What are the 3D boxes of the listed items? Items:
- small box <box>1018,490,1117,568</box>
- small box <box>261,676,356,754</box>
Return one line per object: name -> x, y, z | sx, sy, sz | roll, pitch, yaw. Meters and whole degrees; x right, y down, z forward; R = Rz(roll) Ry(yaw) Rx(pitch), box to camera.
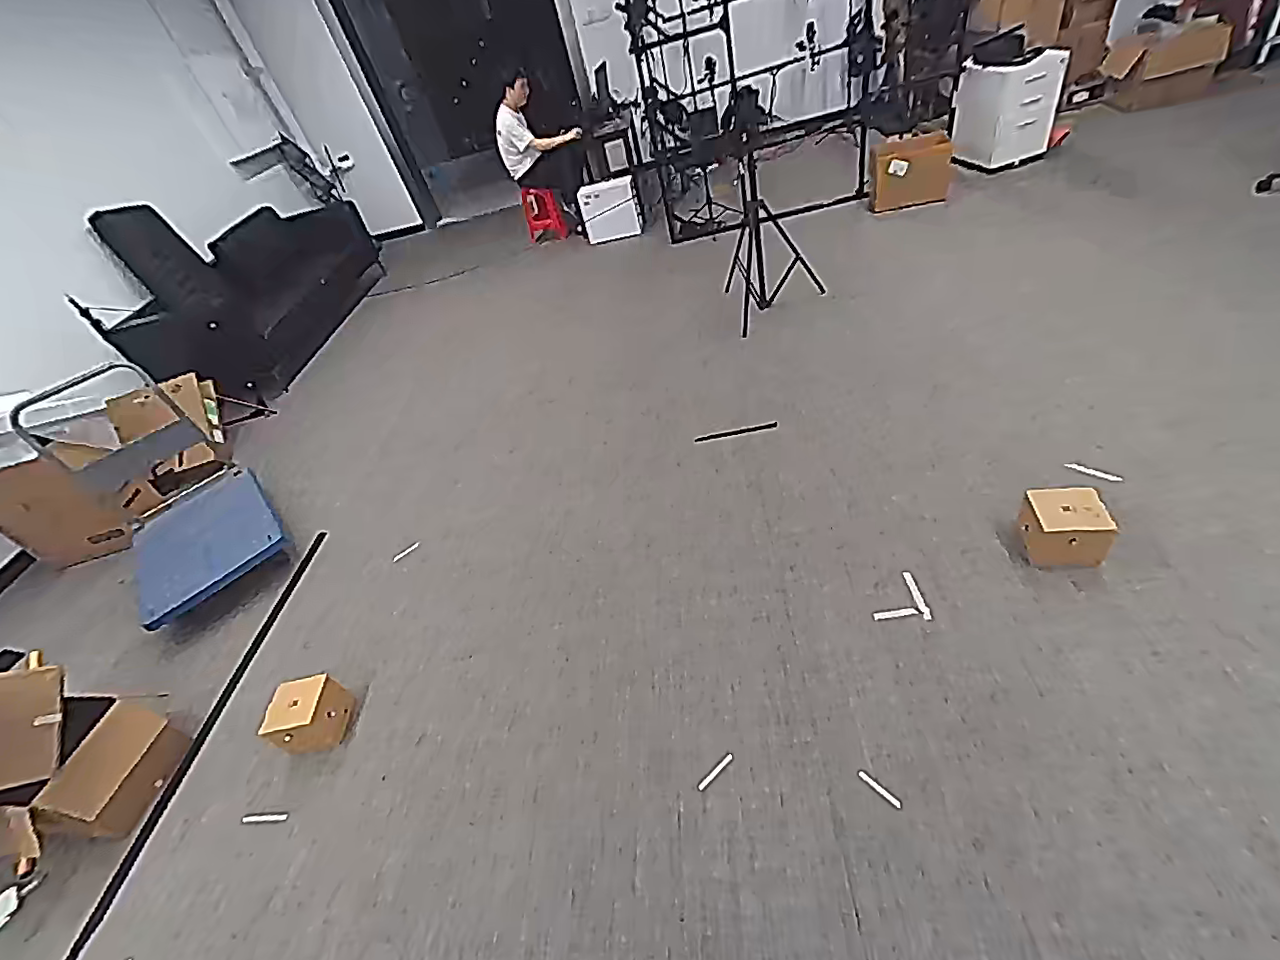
small box -> 1.248, 0.147, 1.597 | 0.179, 0.176, 0.168 | -3, 44, 16
small box -> -1.062, 0.763, 1.751 | 0.179, 0.176, 0.168 | -15, 41, 5
